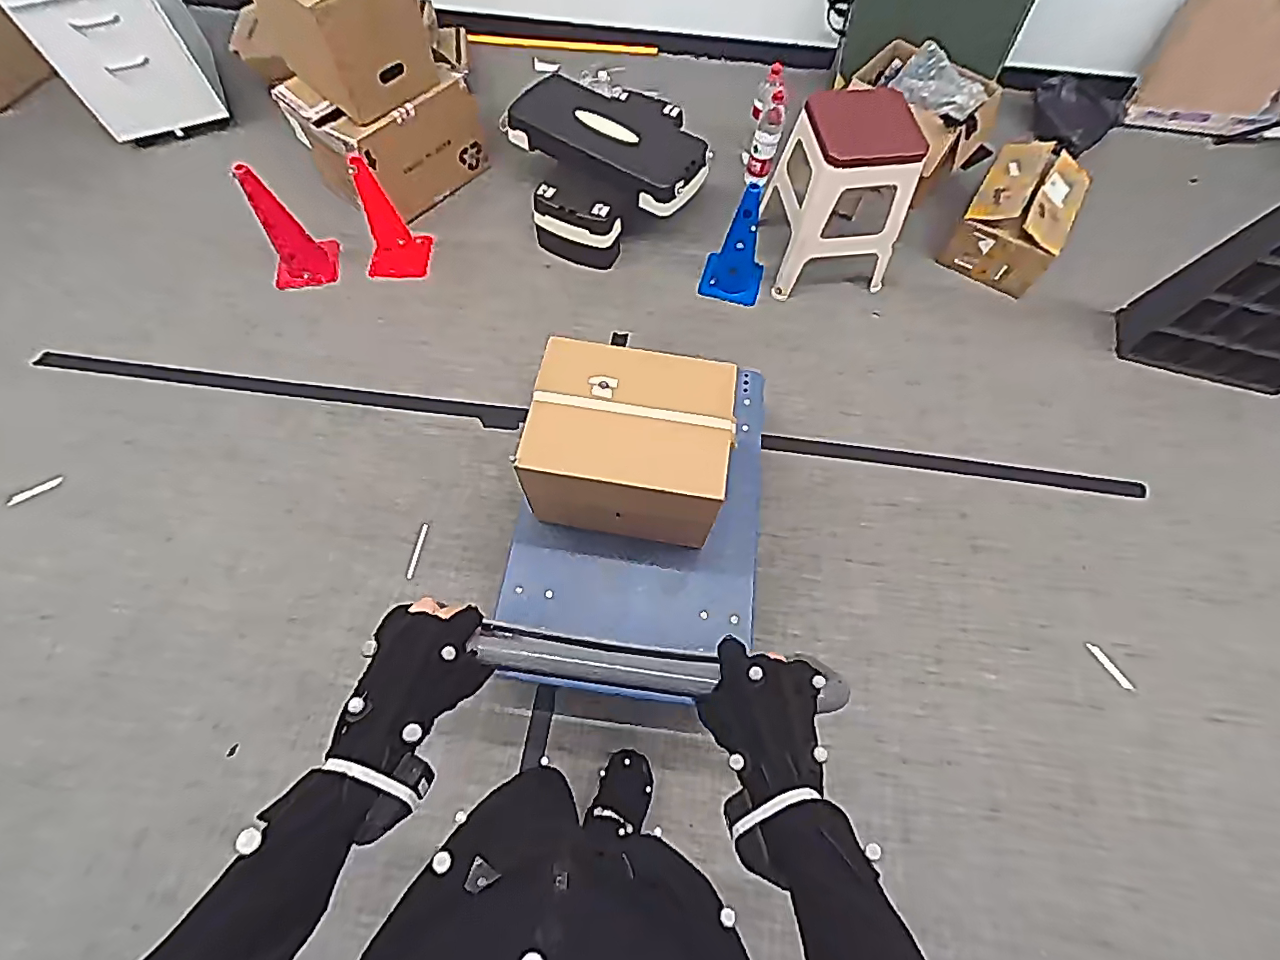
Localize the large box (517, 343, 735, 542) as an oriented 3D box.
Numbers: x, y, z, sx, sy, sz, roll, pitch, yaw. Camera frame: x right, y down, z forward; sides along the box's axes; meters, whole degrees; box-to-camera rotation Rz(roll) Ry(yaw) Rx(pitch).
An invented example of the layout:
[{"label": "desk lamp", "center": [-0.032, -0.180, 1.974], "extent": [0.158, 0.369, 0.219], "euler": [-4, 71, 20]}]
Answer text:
[{"label": "large box", "center": [-0.018, -0.070, 1.221], "extent": [0.408, 0.320, 0.320], "euler": [9, 66, 3]}]
